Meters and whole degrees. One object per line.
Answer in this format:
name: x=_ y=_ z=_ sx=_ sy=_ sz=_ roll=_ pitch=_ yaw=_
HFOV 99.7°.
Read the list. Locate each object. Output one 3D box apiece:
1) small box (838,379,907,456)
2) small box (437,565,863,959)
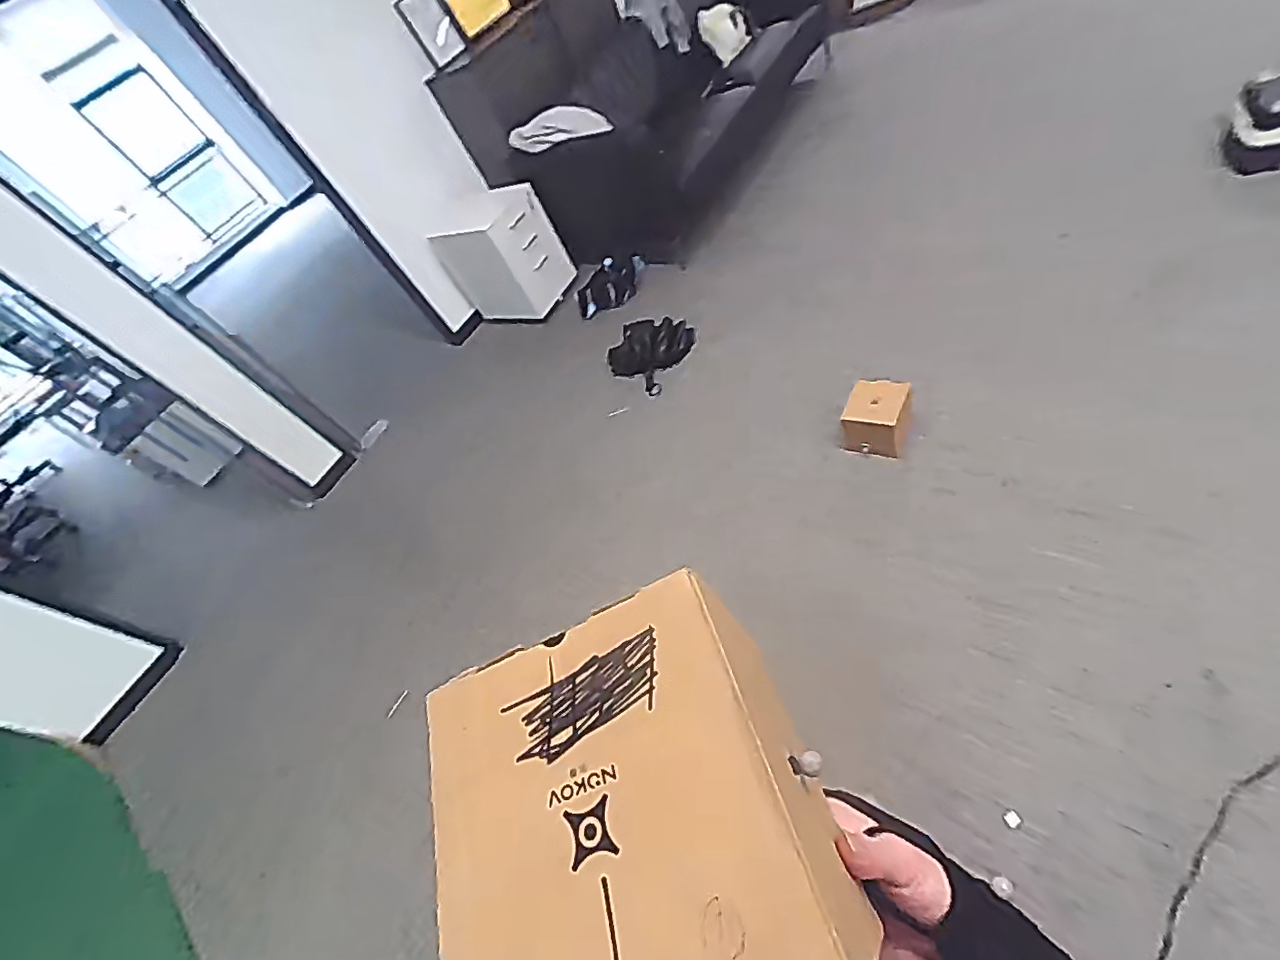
small box: x=0.760 y=-0.204 z=1.756 sx=0.168 sy=0.176 sz=0.179 roll=12 pitch=63 yaw=36
small box: x=0.007 y=0.182 z=0.312 sx=0.168 sy=0.176 sz=0.179 roll=-27 pitch=53 yaw=9
